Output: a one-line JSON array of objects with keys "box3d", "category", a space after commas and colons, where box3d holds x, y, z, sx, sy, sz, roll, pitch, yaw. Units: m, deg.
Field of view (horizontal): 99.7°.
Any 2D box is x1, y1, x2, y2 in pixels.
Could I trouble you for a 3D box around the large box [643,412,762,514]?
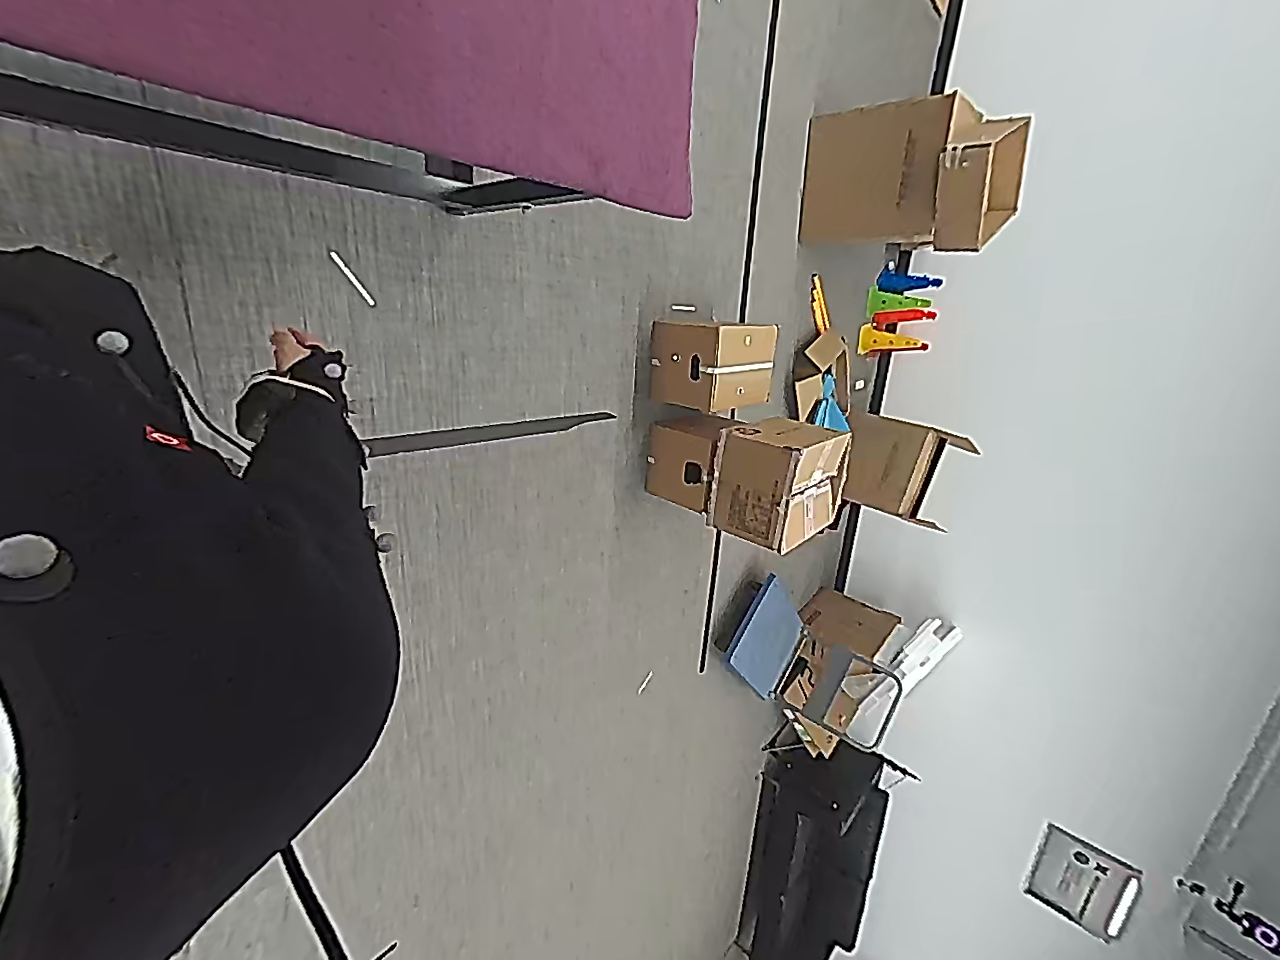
[{"box3d": [0.266, -0.092, 2.310, 0.408, 0.320, 0.320, -16, 117, -45], "category": "large box"}]
